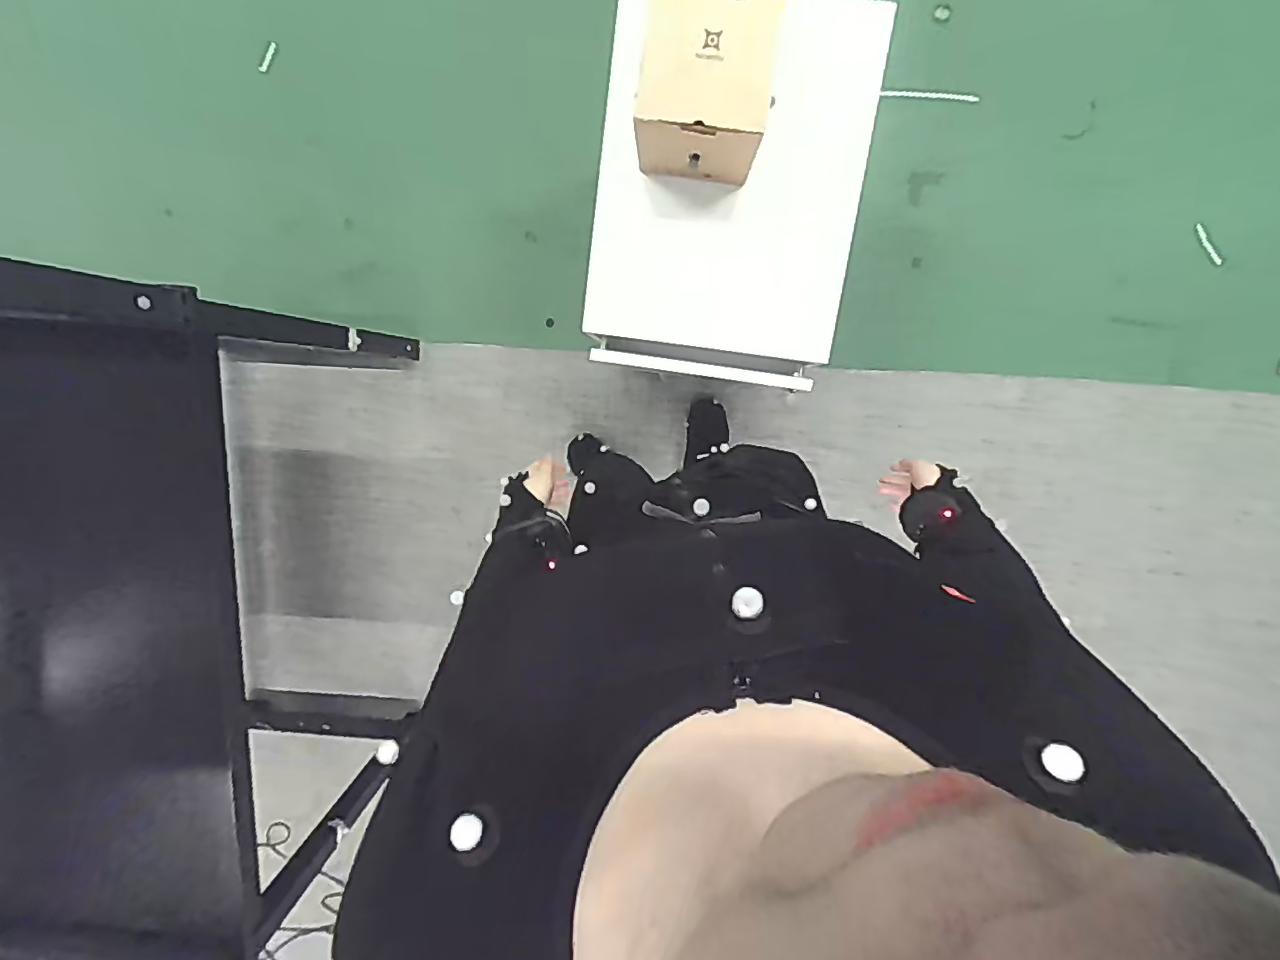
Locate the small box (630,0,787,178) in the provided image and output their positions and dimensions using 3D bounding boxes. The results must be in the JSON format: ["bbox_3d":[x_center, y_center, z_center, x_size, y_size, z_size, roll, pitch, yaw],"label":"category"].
[{"bbox_3d":[0.086,-0.524,0.713,0.168,0.176,0.179,9,101,1],"label":"small box"}]
